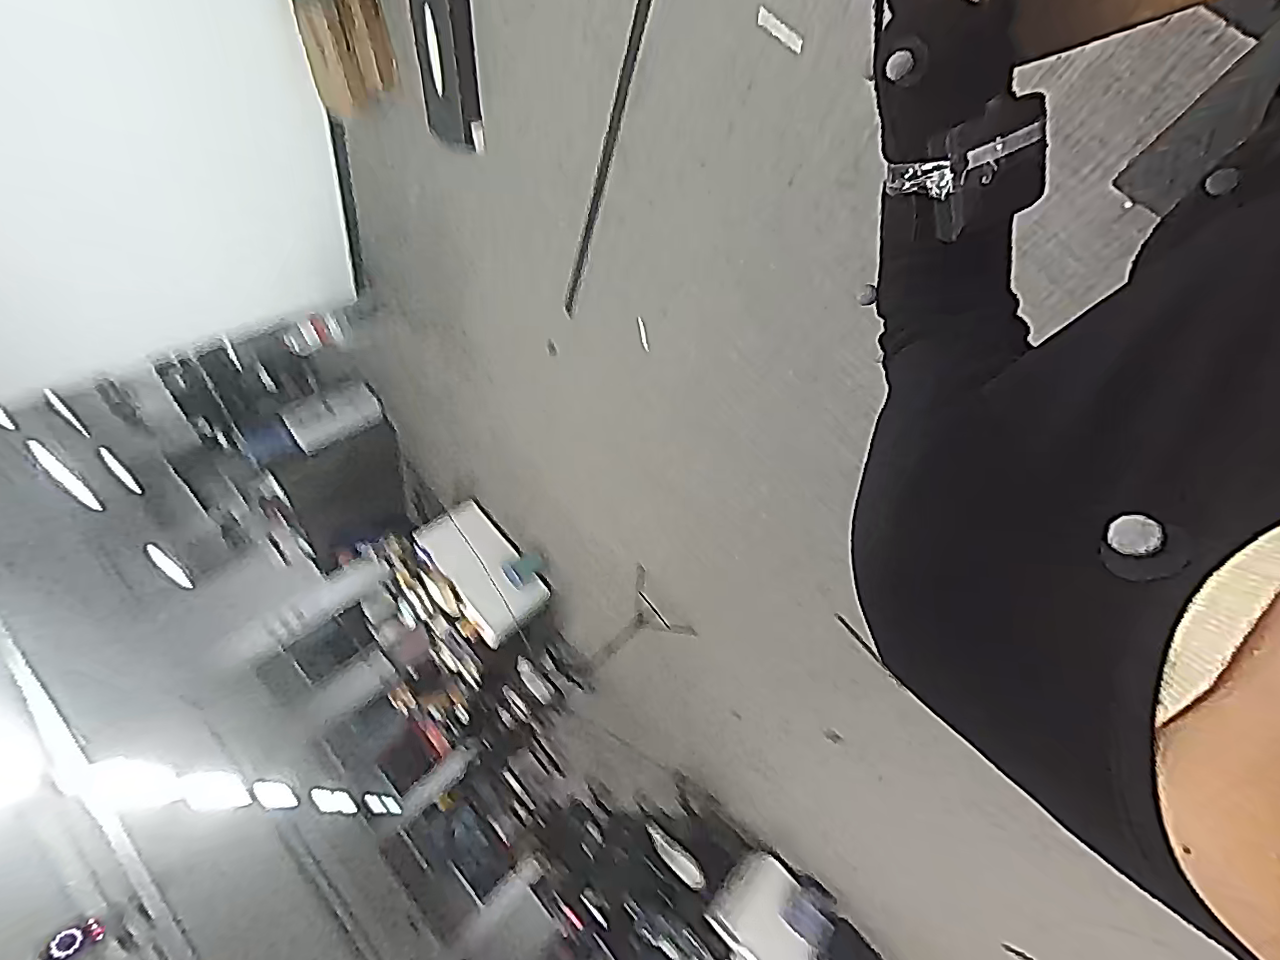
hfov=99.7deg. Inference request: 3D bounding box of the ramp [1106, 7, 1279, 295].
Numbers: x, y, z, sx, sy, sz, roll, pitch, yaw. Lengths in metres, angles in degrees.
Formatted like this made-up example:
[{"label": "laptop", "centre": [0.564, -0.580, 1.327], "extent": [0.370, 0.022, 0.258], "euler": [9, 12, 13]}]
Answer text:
[{"label": "ramp", "centre": [1.294, -0.363, 0.730], "extent": [0.991, 0.206, 0.509], "euler": [45, 145, 12]}]
